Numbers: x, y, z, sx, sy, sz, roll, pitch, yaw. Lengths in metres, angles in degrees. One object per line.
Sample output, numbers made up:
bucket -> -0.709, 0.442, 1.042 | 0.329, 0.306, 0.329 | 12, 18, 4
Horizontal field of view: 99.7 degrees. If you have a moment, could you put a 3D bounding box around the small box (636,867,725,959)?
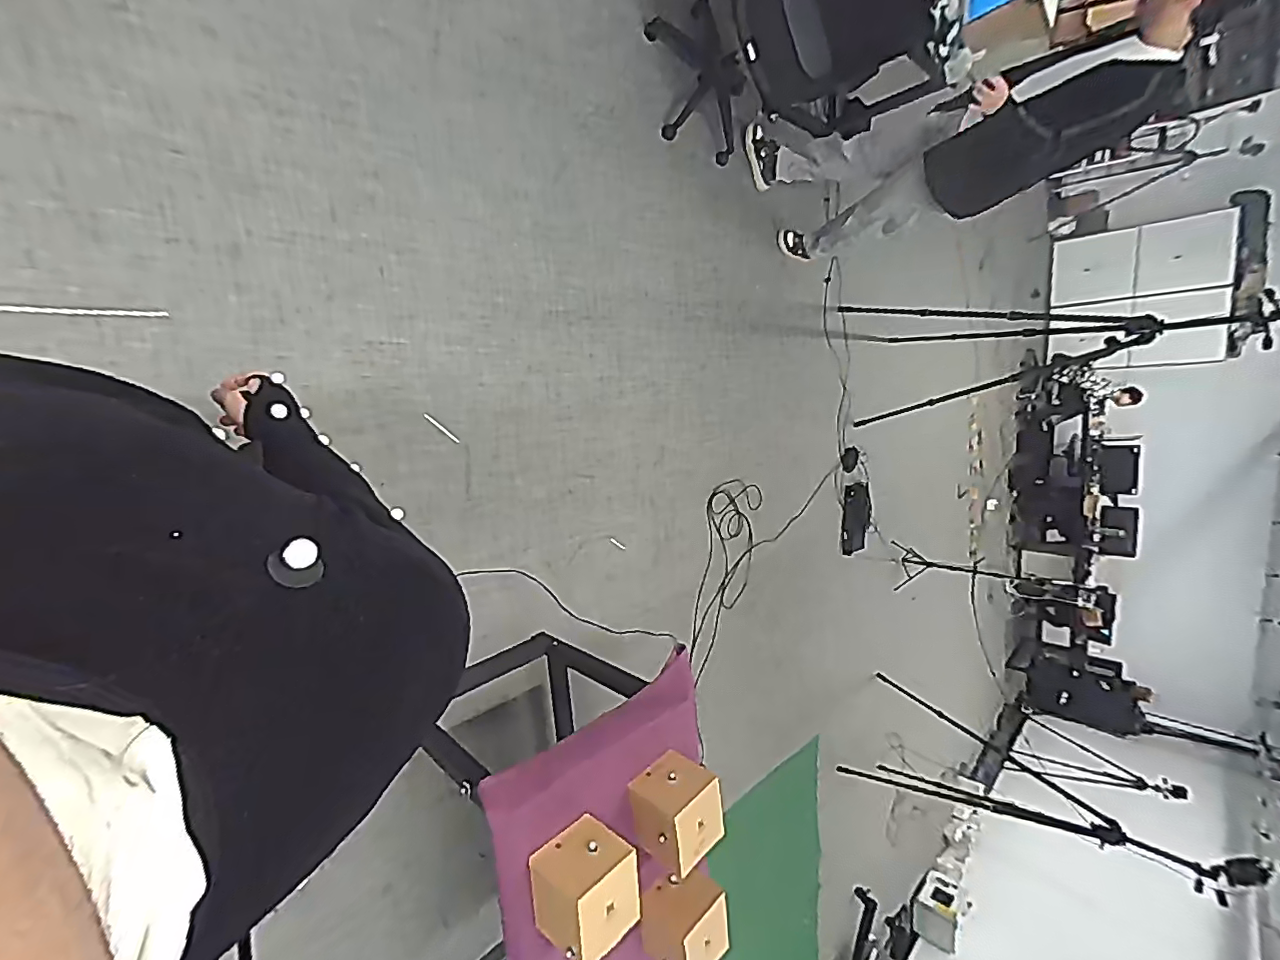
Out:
small box -> 0.105, 1.168, 1.421 | 0.168, 0.176, 0.179 | -15, 103, -43

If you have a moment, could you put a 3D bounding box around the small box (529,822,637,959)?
small box -> -0.125, 0.882, 1.165 | 0.168, 0.176, 0.179 | -12, 103, -45

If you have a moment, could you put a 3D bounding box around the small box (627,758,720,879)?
small box -> 0.081, 0.836, 1.365 | 0.168, 0.176, 0.179 | -17, 105, -42
